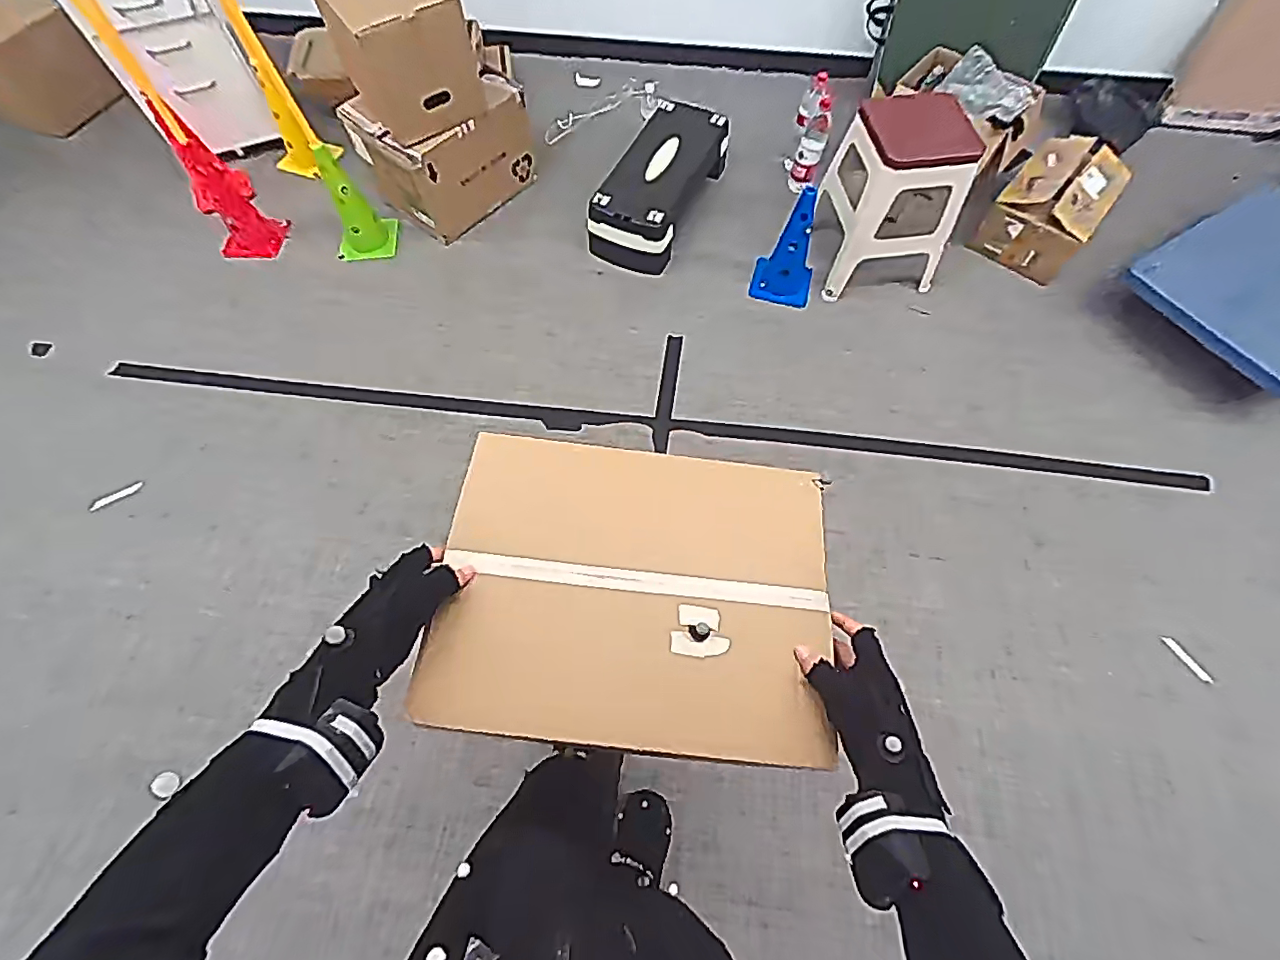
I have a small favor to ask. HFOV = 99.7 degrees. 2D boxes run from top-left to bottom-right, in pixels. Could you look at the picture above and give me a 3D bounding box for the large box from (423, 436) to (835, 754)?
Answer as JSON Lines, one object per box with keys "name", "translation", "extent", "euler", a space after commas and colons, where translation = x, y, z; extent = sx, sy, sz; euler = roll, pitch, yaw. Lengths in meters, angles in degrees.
{"name": "large box", "translation": [-0.010, 0.171, 0.710], "extent": [0.408, 0.320, 0.320], "euler": [7, 64, -2]}
